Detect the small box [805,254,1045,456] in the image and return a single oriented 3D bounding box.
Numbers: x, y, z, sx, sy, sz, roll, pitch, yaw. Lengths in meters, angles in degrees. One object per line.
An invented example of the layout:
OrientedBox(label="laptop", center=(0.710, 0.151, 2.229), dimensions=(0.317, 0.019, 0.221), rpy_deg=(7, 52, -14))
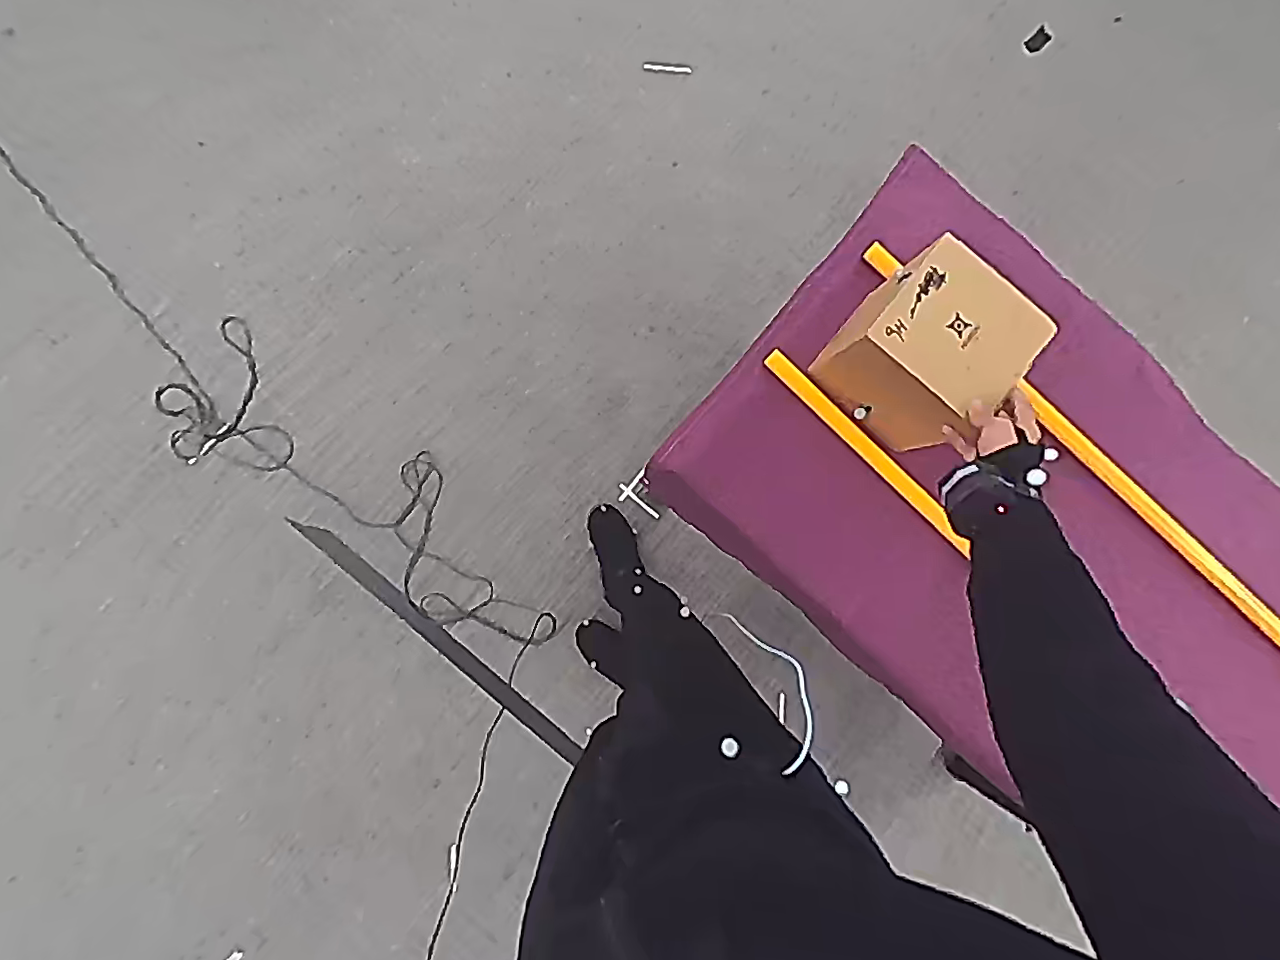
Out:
OrientedBox(label="small box", center=(0.353, -0.145, 0.702), dimensions=(0.179, 0.176, 0.168), rpy_deg=(40, 83, -2))
